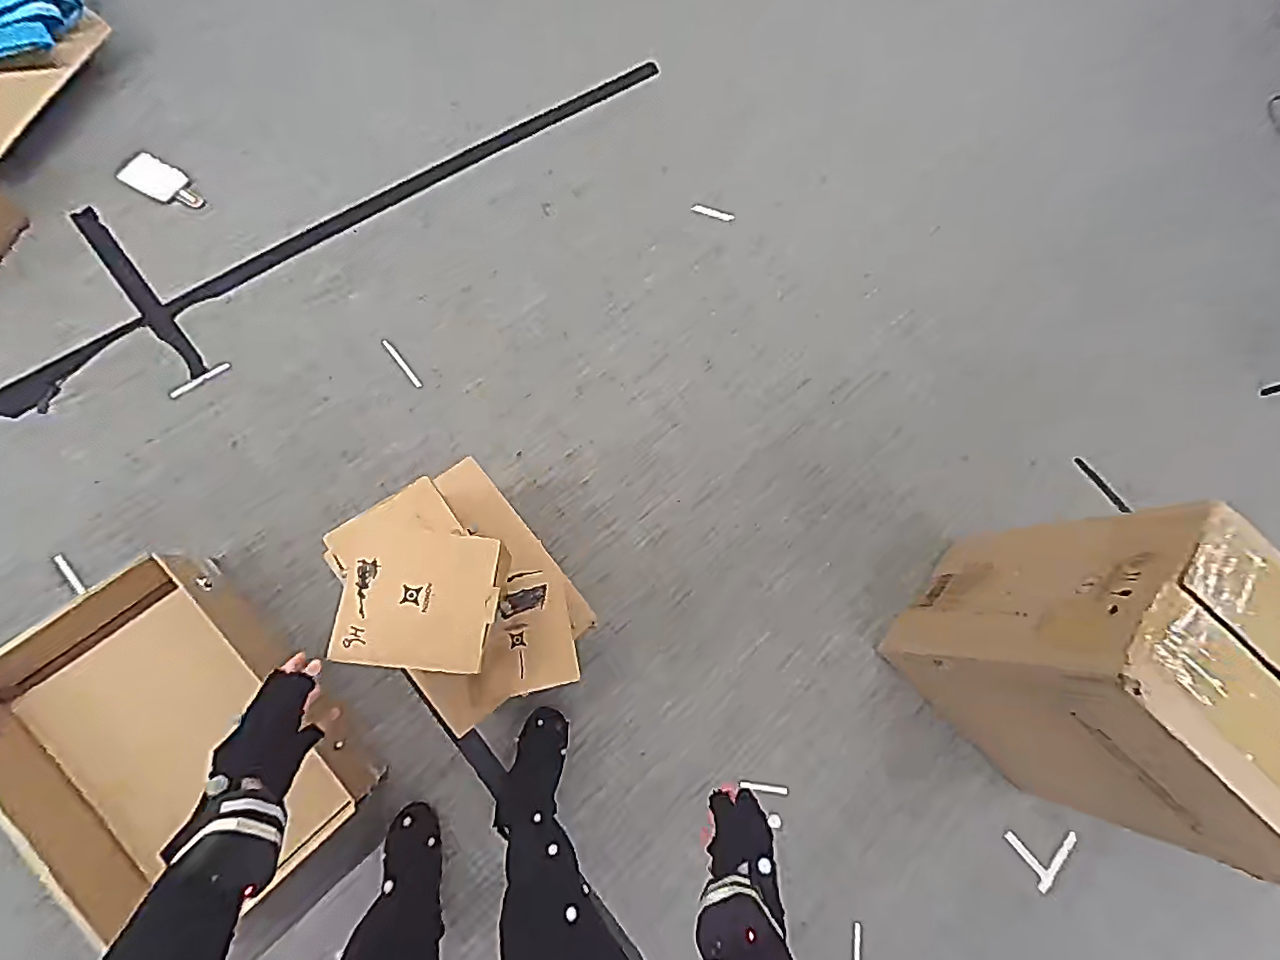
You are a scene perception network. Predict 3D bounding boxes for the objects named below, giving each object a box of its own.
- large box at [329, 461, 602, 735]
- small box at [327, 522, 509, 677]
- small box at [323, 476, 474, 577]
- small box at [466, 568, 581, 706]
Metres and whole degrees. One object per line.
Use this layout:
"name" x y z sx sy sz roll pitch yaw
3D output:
"large box" -0.338 0.232 1.120 0.320 0.320 0.408 -39 87 -16
"small box" -0.277 0.160 0.723 0.179 0.176 0.168 9 75 -8
"small box" -0.369 0.121 0.888 0.179 0.176 0.168 -35 87 -17
"small box" -0.197 0.251 0.885 0.168 0.176 0.179 -9 78 -12
